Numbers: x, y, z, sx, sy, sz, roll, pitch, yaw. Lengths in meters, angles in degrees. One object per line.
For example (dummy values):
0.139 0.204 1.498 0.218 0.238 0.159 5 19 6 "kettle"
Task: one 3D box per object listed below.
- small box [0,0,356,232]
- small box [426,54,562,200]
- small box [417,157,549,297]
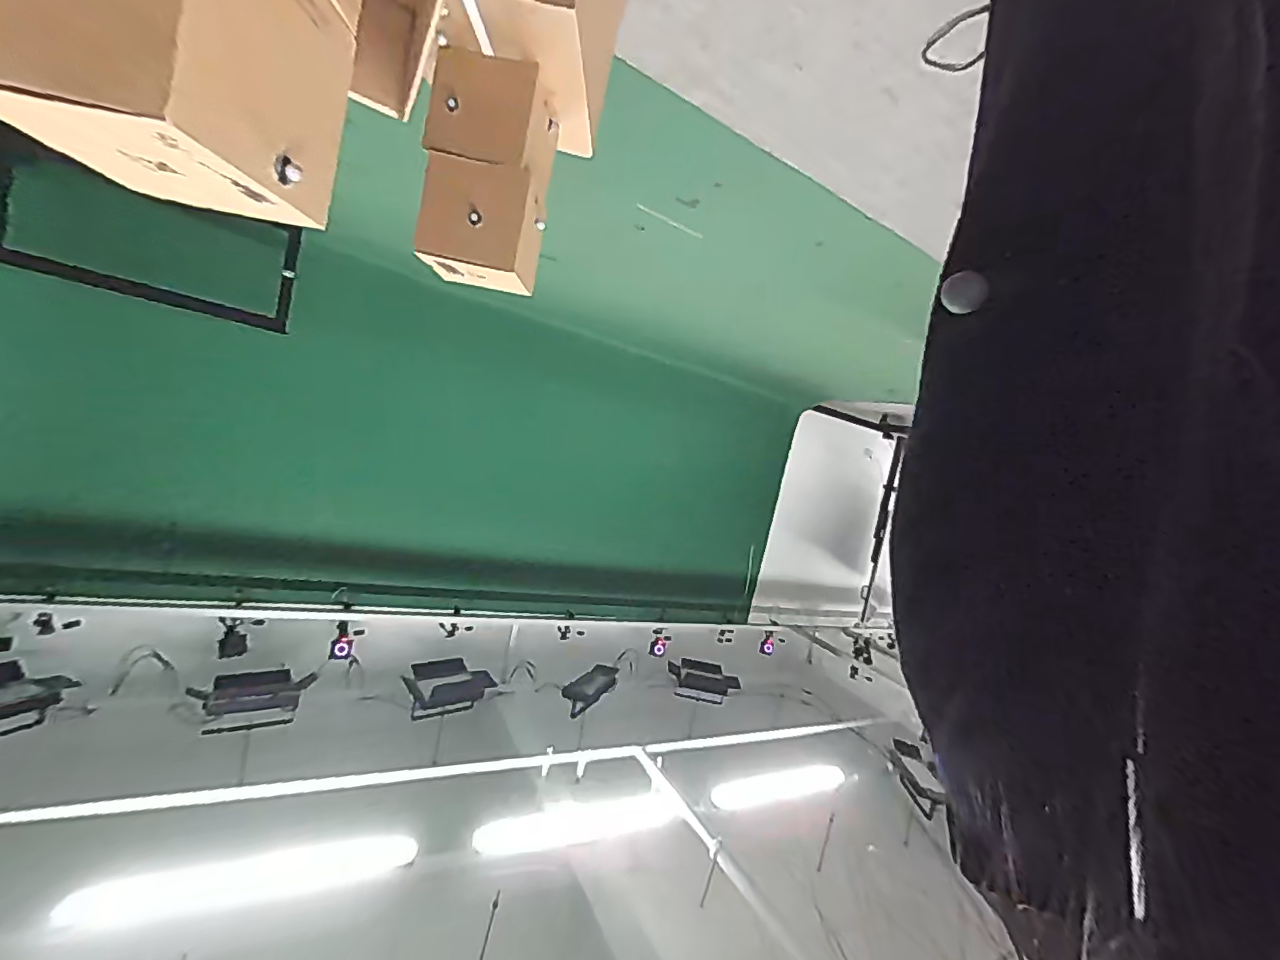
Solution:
-0.349 -0.320 0.405 0.179 0.176 0.168 13 -176 0 "small box"
-0.253 -0.615 0.968 0.179 0.176 0.168 12 -175 2 "small box"
-0.276 -0.453 0.981 0.179 0.176 0.168 11 -175 -2 "small box"
